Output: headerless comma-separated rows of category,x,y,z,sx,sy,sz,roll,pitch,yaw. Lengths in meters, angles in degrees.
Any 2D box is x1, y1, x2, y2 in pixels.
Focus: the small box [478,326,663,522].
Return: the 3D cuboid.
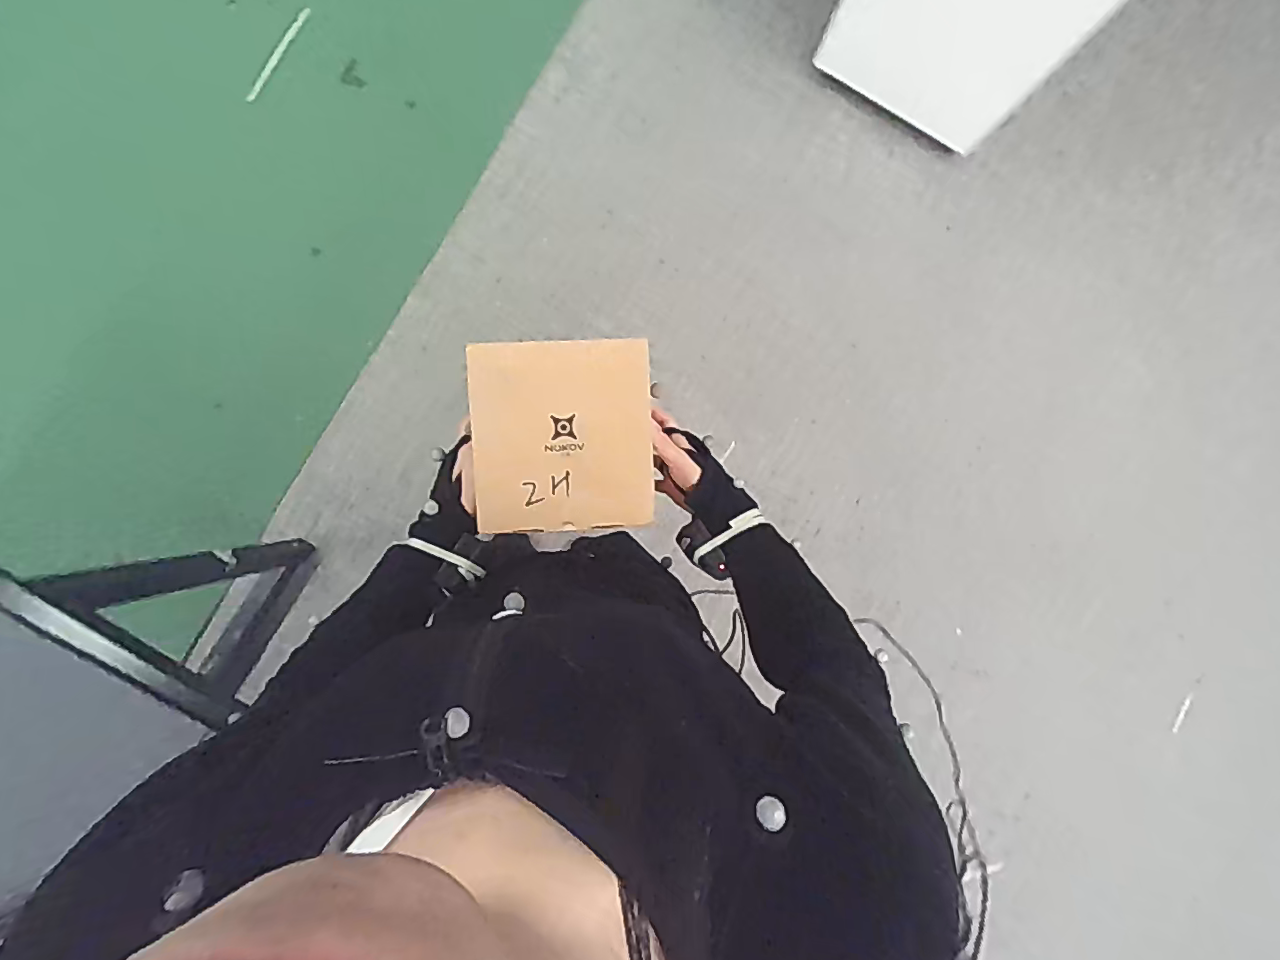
small box,-0.066,-0.056,0.566,0.168,0.176,0.179,-2,95,-3
